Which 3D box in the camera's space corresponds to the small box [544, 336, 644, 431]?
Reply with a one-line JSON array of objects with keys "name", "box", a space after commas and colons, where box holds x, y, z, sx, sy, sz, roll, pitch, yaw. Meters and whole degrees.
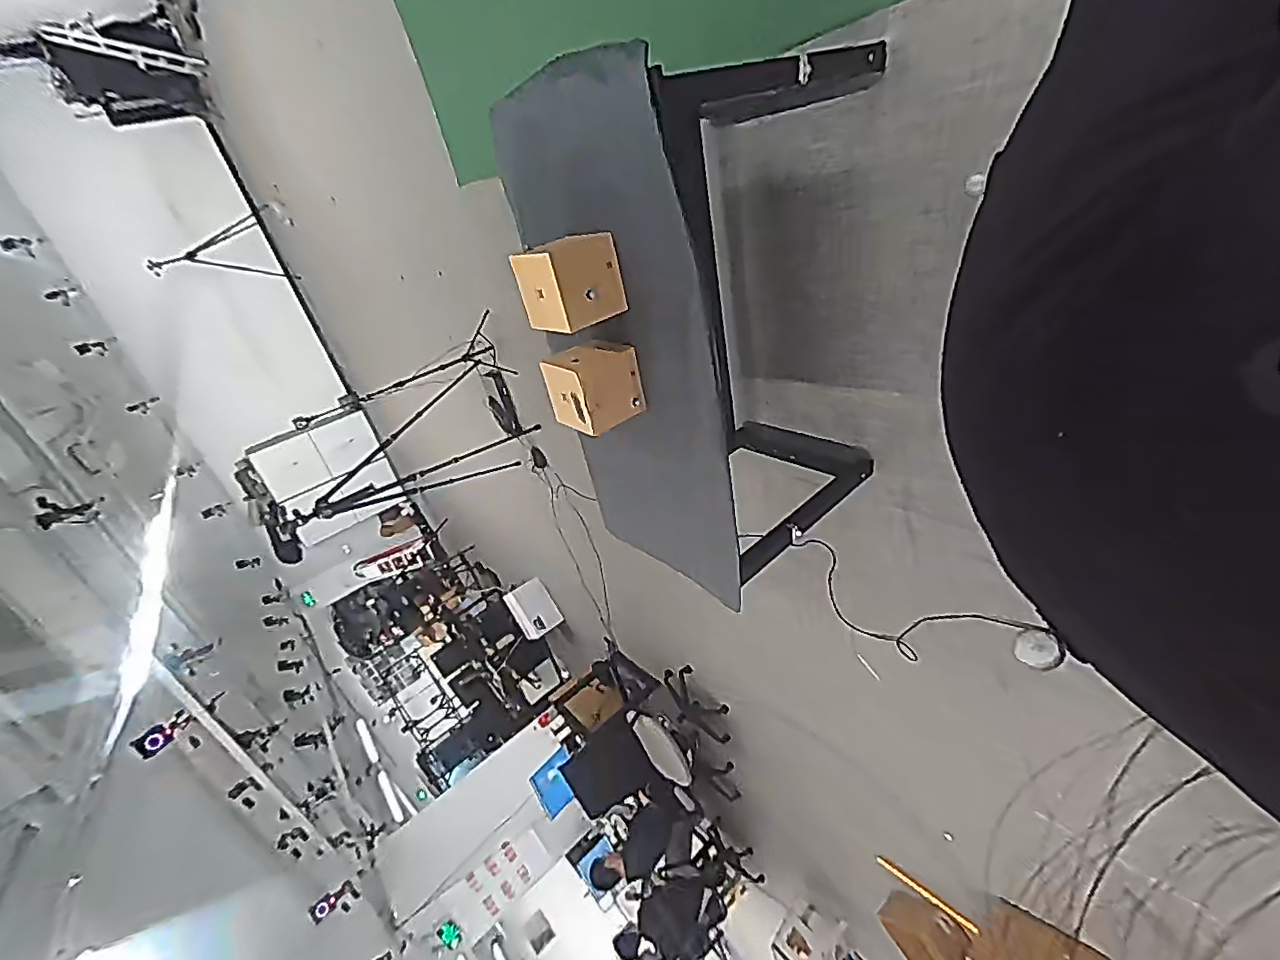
[{"name": "small box", "box": [-0.105, -0.245, 1.339, 0.179, 0.176, 0.168, 26, 138, 46]}]

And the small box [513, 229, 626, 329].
[{"name": "small box", "box": [-0.149, -0.449, 1.205, 0.179, 0.176, 0.168, 23, 137, 47]}]
